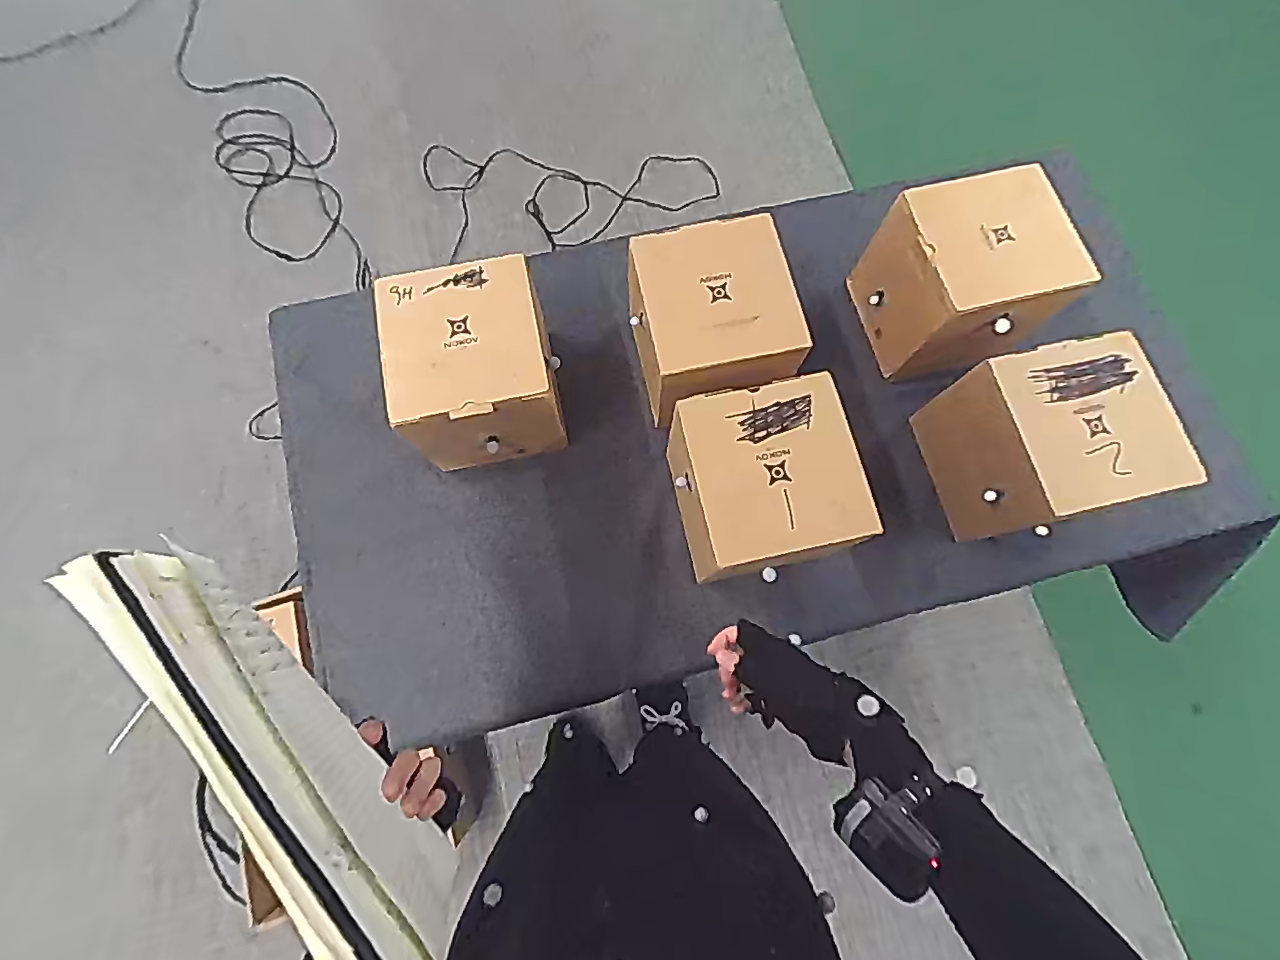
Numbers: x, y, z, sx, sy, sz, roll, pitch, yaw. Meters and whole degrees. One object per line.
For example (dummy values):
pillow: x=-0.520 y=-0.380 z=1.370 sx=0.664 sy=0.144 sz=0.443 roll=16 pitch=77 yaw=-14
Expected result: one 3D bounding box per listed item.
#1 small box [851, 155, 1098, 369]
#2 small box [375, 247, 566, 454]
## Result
small box: x=0.400 y=-0.262 z=0.682 sx=0.179 sy=0.176 sz=0.168 roll=-14 pitch=75 yaw=-3
small box: x=-0.190 y=-0.139 z=0.644 sx=0.168 sy=0.176 sz=0.179 roll=-11 pitch=76 yaw=-3
